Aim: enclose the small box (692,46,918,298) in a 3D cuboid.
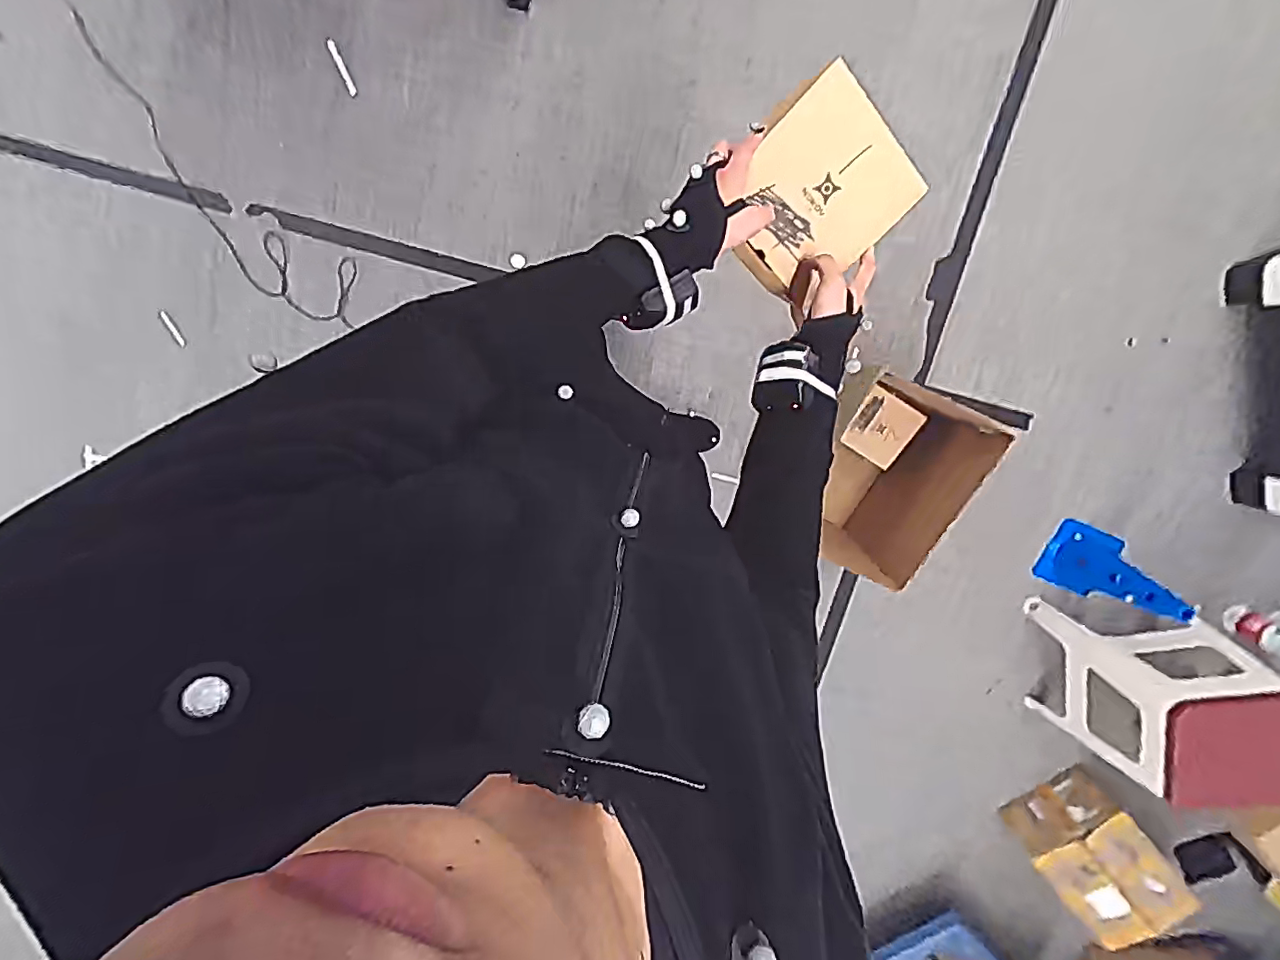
[{"bbox_3d":[0.176,-0.347,0.641,0.168,0.176,0.179,40,108,-19],"label":"small box"}]
